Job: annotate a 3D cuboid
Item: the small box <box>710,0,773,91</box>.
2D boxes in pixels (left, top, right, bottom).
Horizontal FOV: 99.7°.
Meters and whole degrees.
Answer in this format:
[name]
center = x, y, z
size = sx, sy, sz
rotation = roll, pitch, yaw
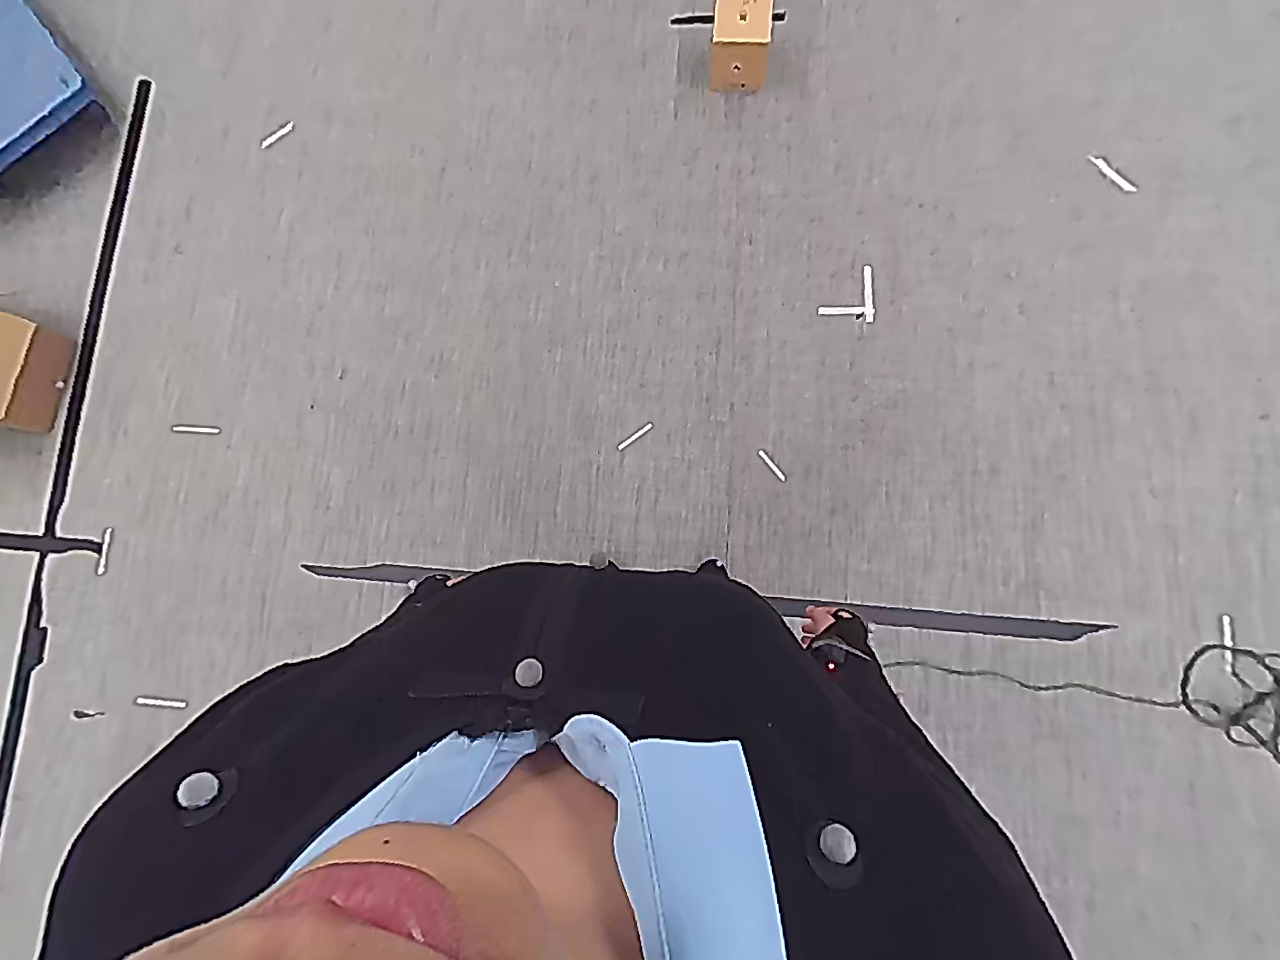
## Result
[small box]
center = 0.302, -1.317, 1.633
size = 0.168, 0.176, 0.179
rotation = 5, 82, 5
